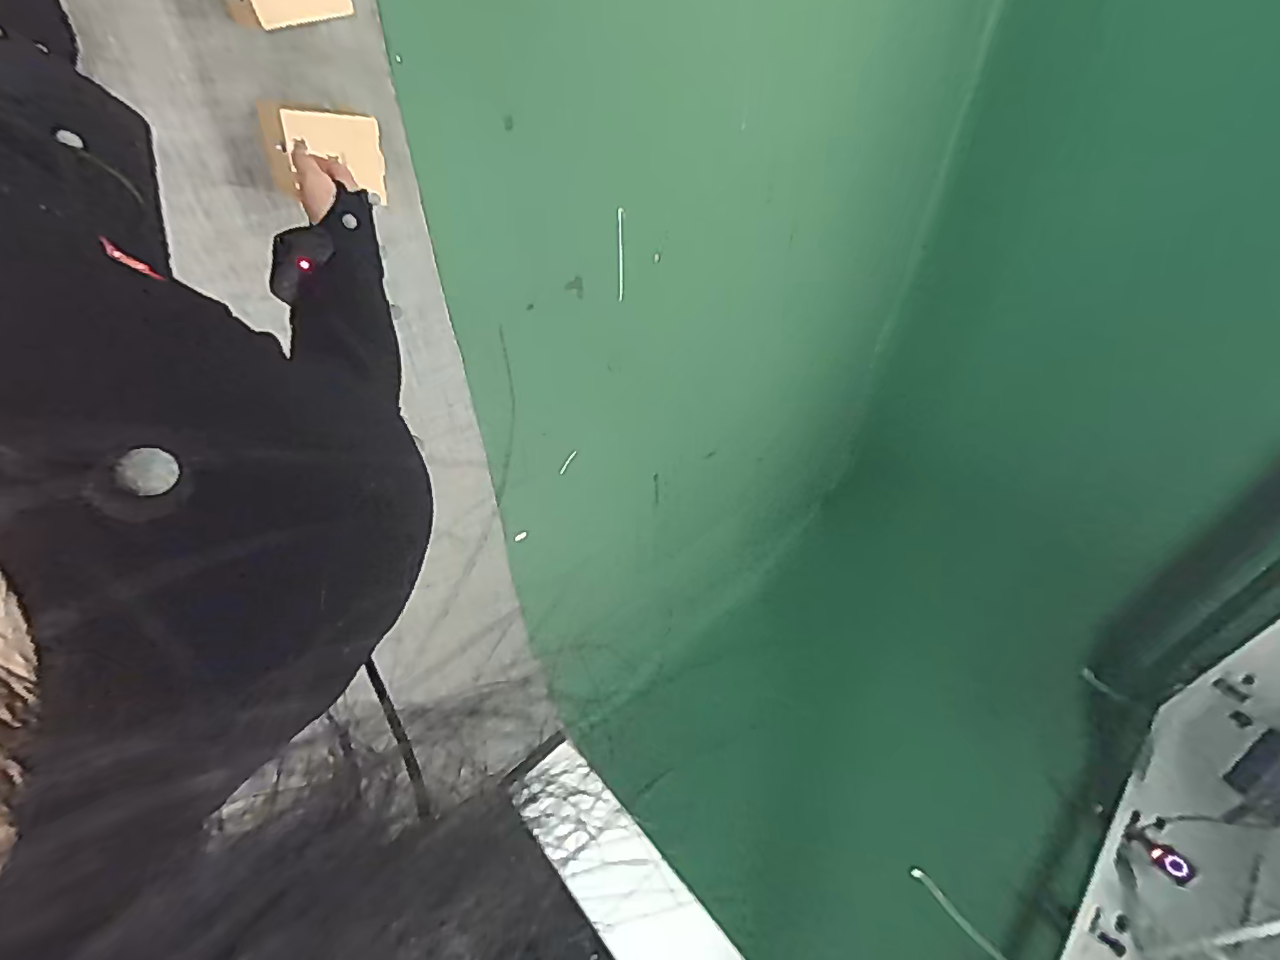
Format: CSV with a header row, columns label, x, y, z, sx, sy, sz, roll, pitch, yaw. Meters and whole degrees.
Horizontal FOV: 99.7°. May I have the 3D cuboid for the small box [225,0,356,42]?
label,x,y,z,sx,sy,sz,roll,pitch,yaw
small box,-0.637,-0.891,0.939,0.168,0.176,0.179,-36,142,-25

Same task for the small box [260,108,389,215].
label,x,y,z,sx,sy,sz,roll,pitch,yaw
small box,-0.653,-0.661,1.126,0.179,0.176,0.168,-23,136,-38
